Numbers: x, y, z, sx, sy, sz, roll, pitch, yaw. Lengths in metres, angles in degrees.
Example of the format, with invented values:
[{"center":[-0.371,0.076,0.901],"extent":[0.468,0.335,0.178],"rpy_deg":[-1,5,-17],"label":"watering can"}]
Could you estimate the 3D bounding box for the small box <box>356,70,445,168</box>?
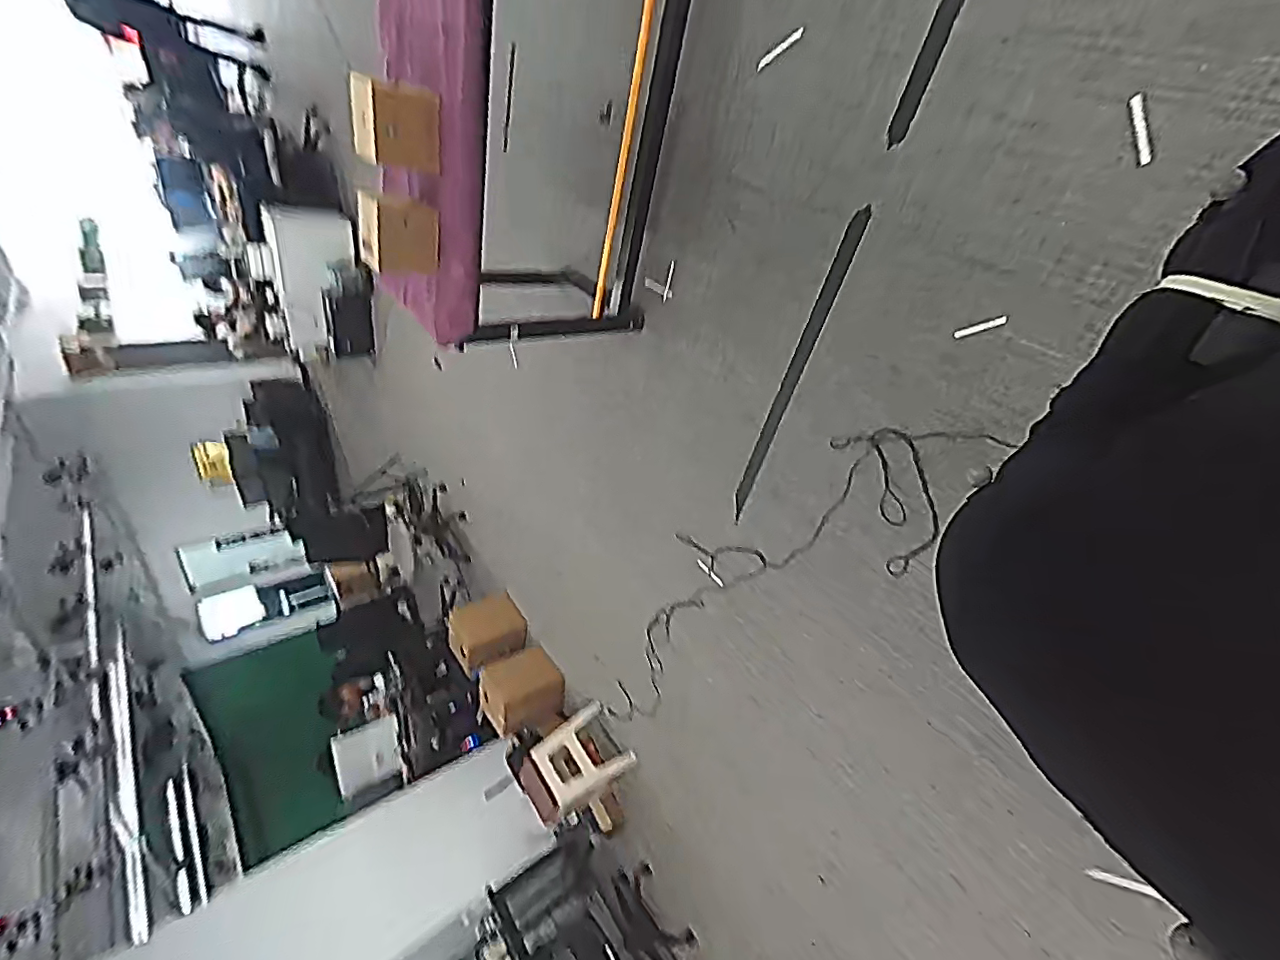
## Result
[{"center":[-0.619,-0.937,1.410],"extent":[0.168,0.176,0.179],"rpy_deg":[43,134,35],"label":"small box"}]
